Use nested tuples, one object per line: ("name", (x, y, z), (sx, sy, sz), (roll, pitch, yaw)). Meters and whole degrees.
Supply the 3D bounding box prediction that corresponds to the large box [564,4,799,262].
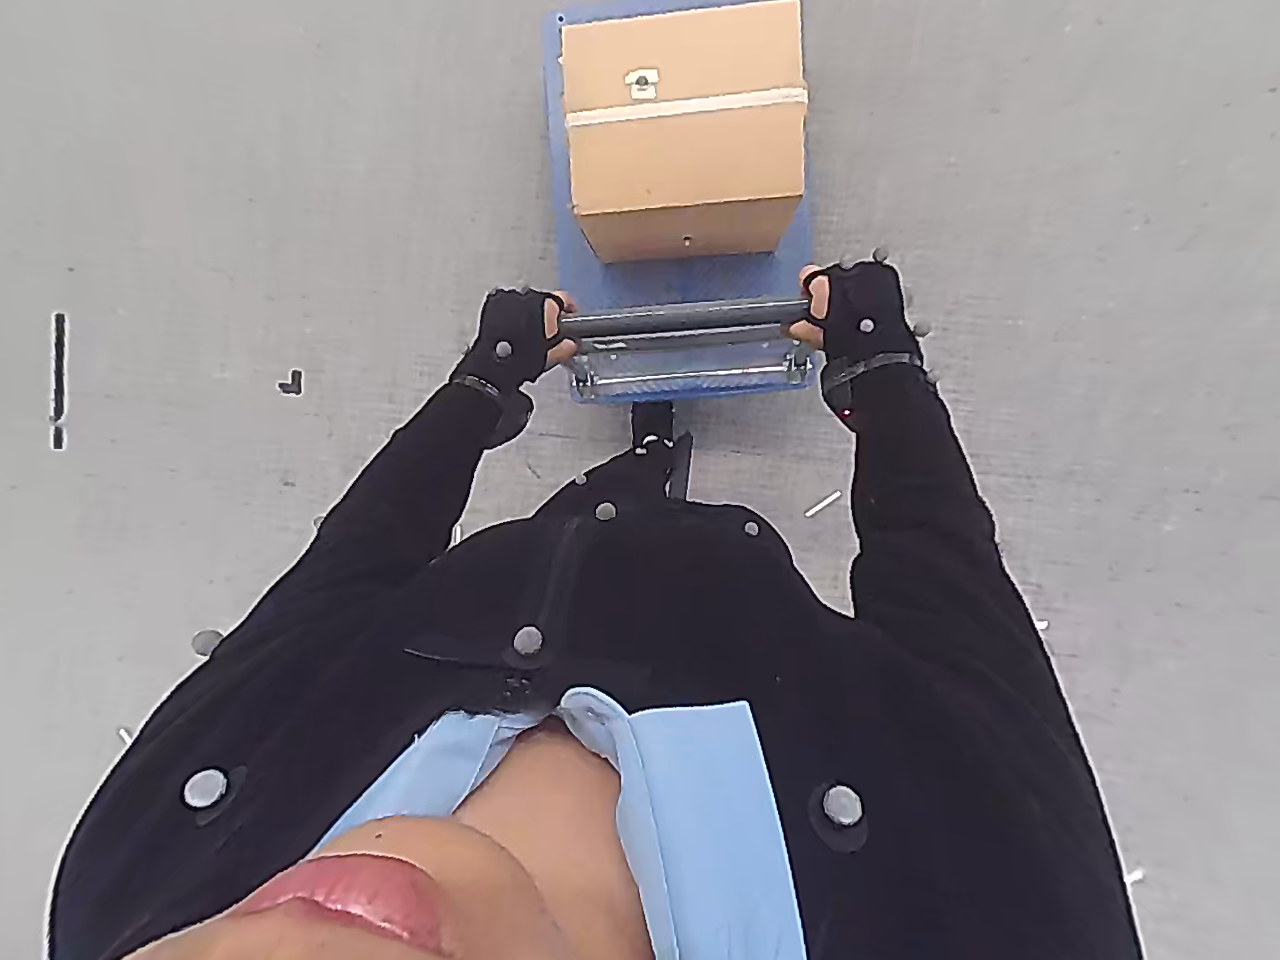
("large box", (0.087, -0.657, 1.095), (0.408, 0.320, 0.320), (-3, 95, 6))
